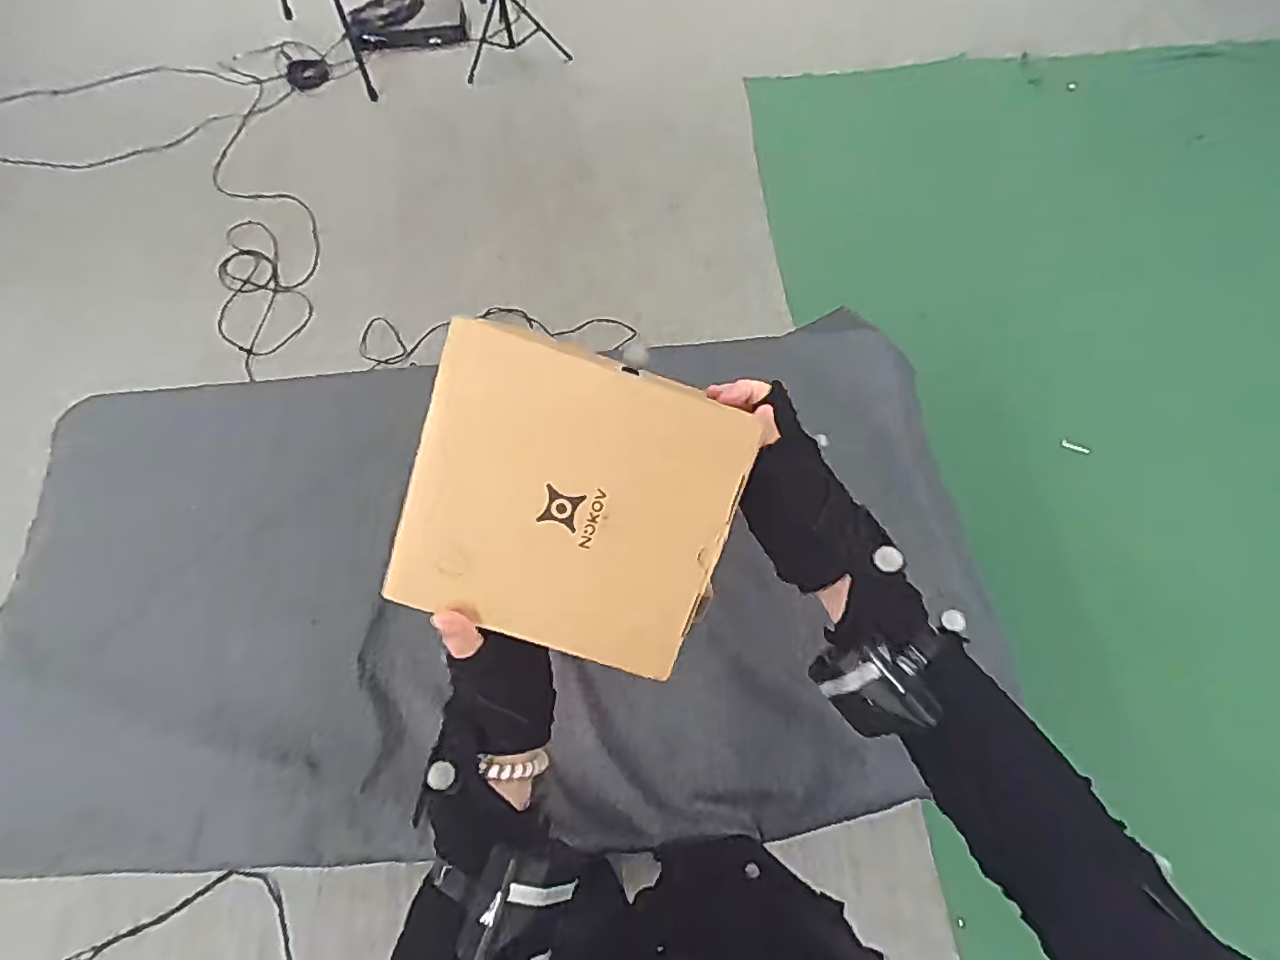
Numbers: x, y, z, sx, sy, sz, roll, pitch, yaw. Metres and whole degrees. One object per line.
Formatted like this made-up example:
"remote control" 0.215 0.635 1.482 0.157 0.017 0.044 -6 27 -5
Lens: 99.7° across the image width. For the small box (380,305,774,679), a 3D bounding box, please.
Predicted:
"small box" -0.039 -0.003 0.371 0.179 0.176 0.168 20 102 -6
